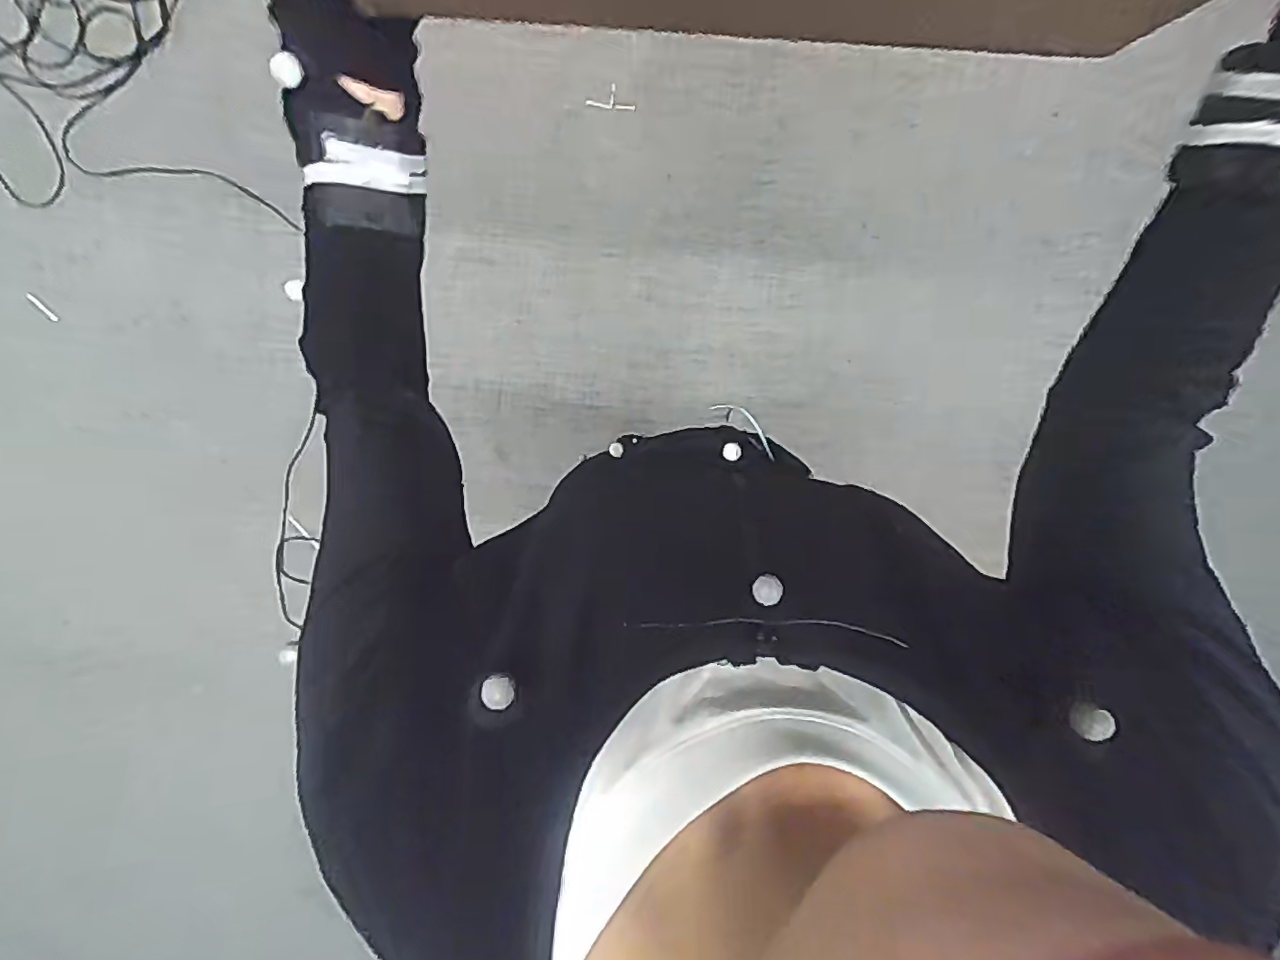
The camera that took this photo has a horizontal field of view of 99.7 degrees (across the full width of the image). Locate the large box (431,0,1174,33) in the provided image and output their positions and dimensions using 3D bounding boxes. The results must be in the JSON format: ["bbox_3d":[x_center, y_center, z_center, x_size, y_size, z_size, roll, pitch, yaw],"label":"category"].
[{"bbox_3d":[0.080,-0.351,0.105,0.408,0.320,0.320,0,106,-4],"label":"large box"}]
